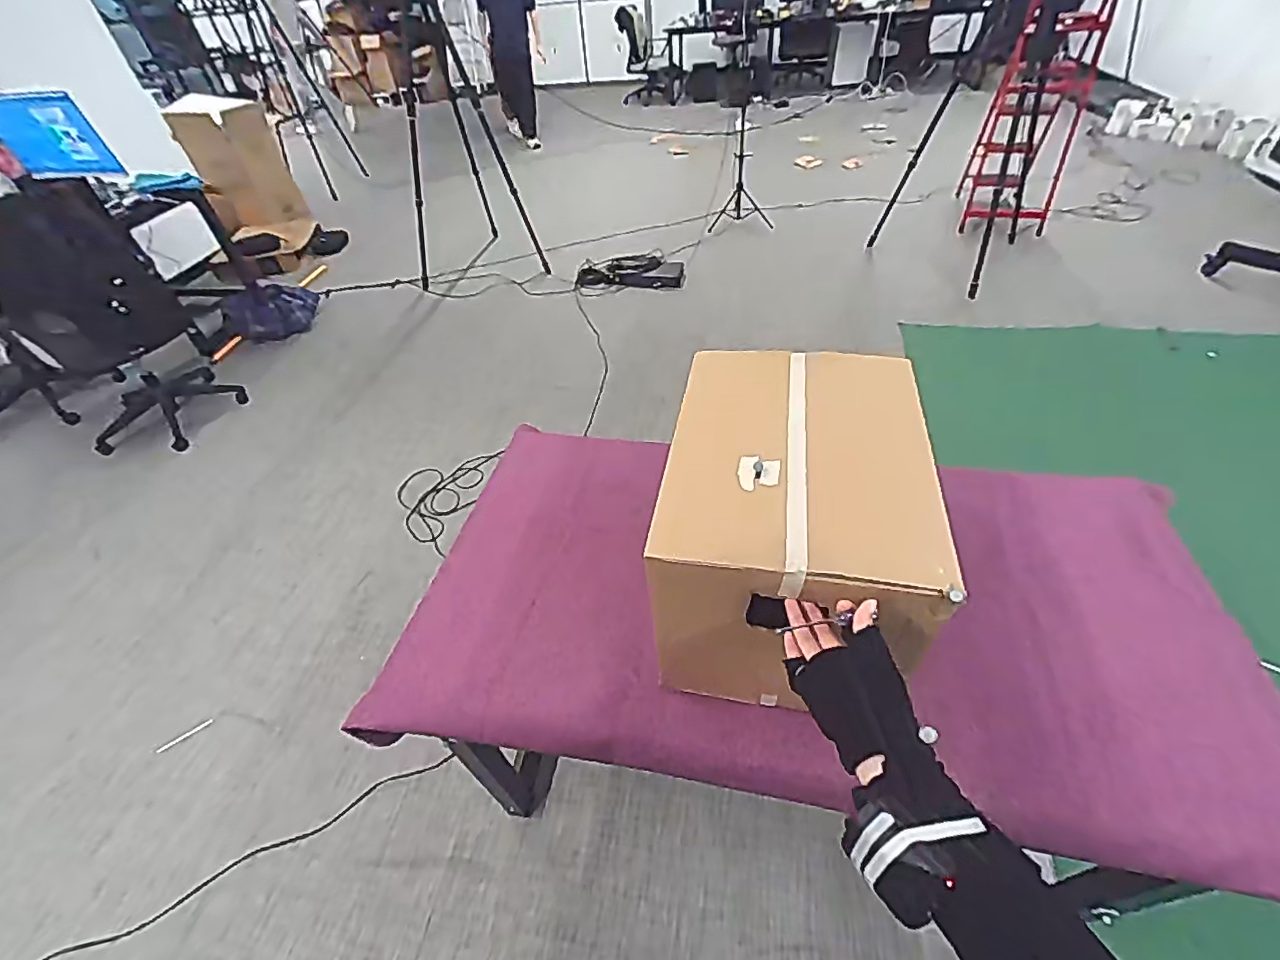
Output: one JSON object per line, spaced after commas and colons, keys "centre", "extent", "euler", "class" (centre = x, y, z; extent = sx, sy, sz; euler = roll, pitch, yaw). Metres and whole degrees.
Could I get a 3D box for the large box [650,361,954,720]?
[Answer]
{"centre": [0.206, 0.072, 0.794], "extent": [0.320, 0.320, 0.408], "euler": [5, 46, 12], "class": "large box"}
